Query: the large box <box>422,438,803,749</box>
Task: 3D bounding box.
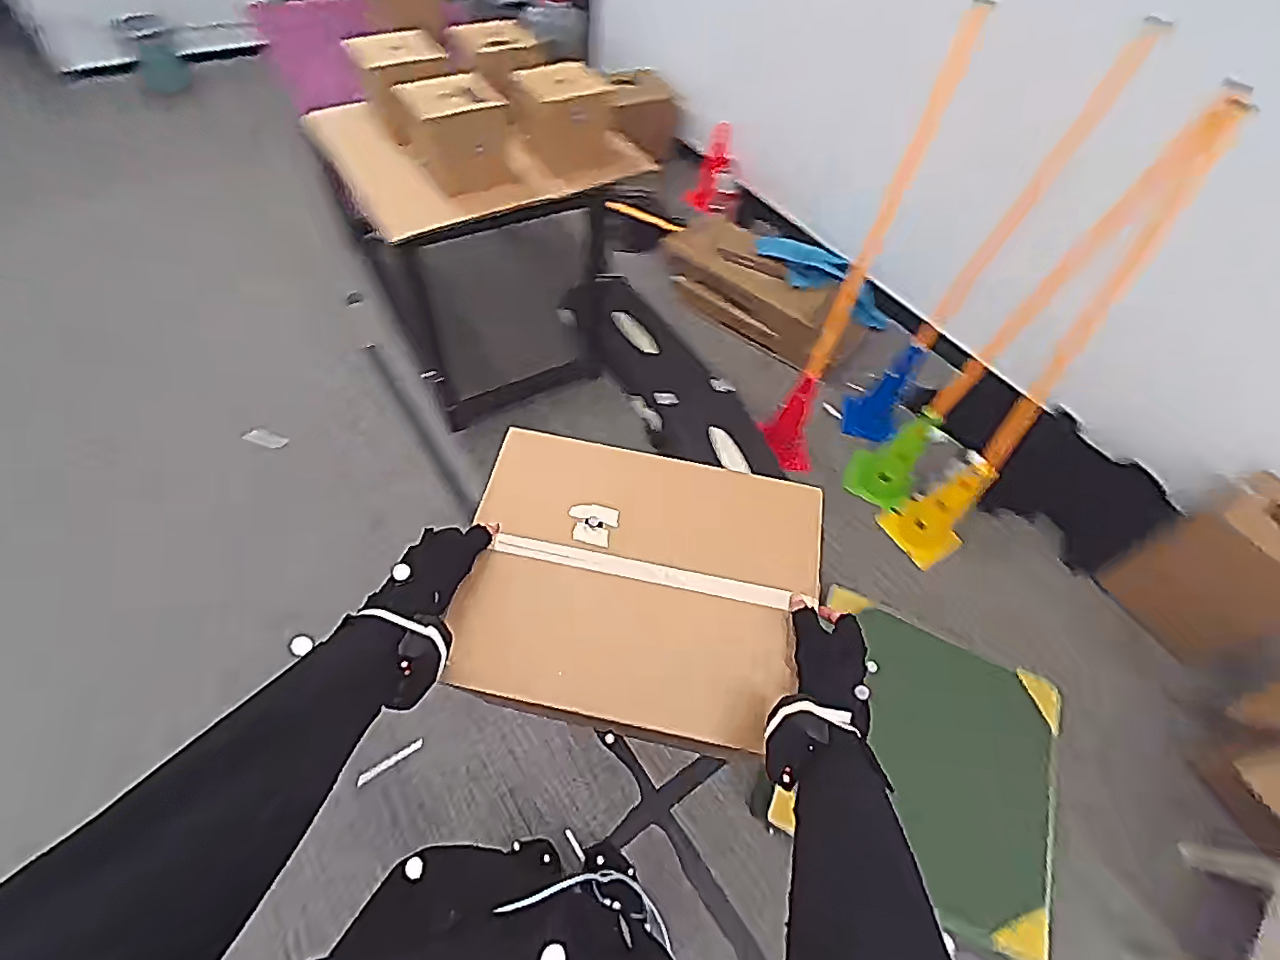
[{"bbox_3d":[-0.016,0.176,0.760,0.408,0.320,0.320,10,63,2],"label":"large box"}]
